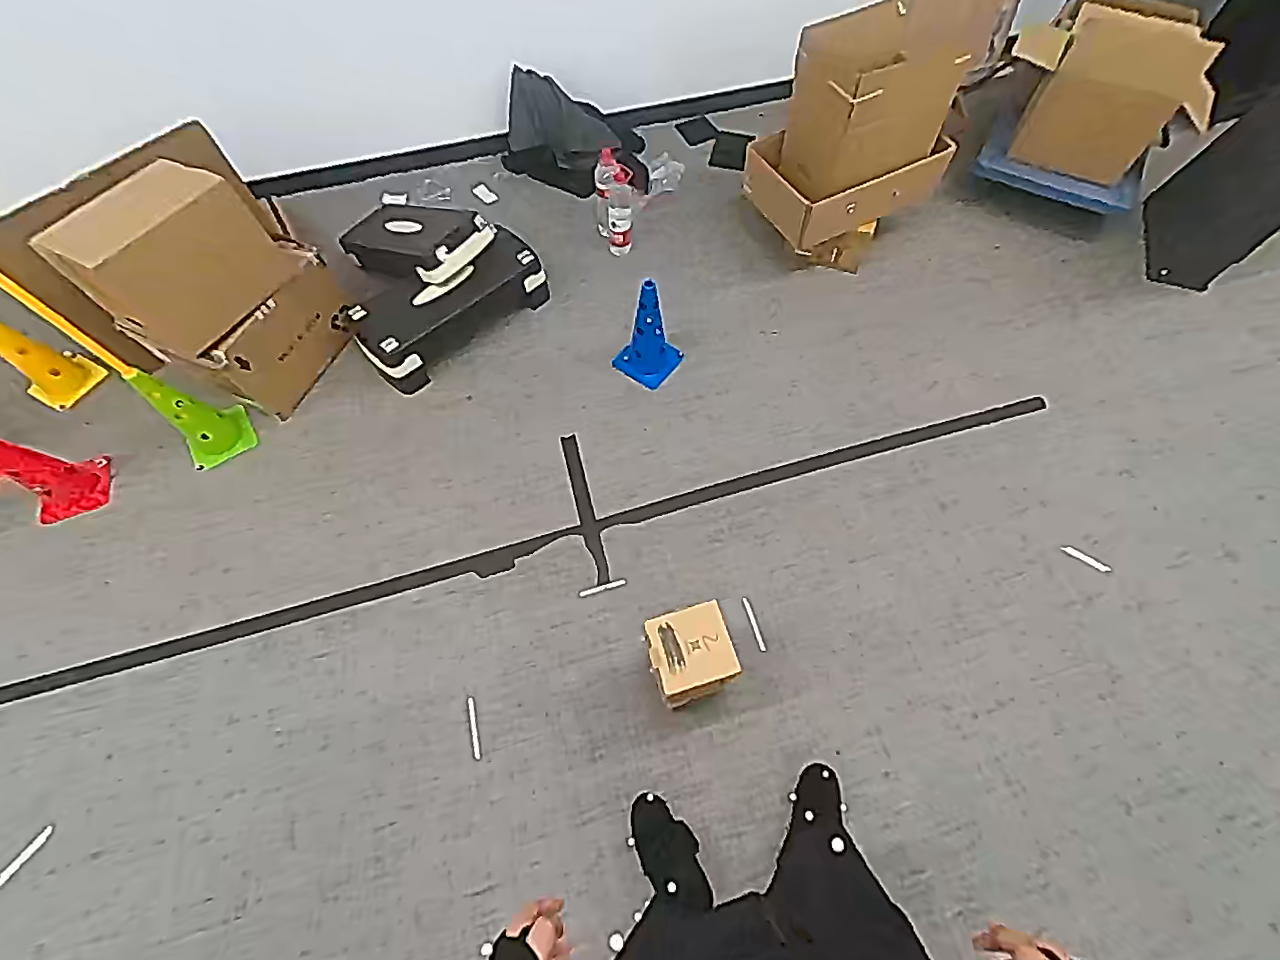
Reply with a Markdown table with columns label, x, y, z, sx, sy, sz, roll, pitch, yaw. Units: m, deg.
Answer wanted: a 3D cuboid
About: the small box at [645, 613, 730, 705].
| label | x | y | z | sx | sy | sz | roll | pitch | yaw |
| --- | --- | --- | --- | --- | --- | --- | --- | --- | --- |
| small box | 0.118 | 0.468 | 1.400 | 0.168 | 0.176 | 0.179 | -19 | 65 | -8 |
